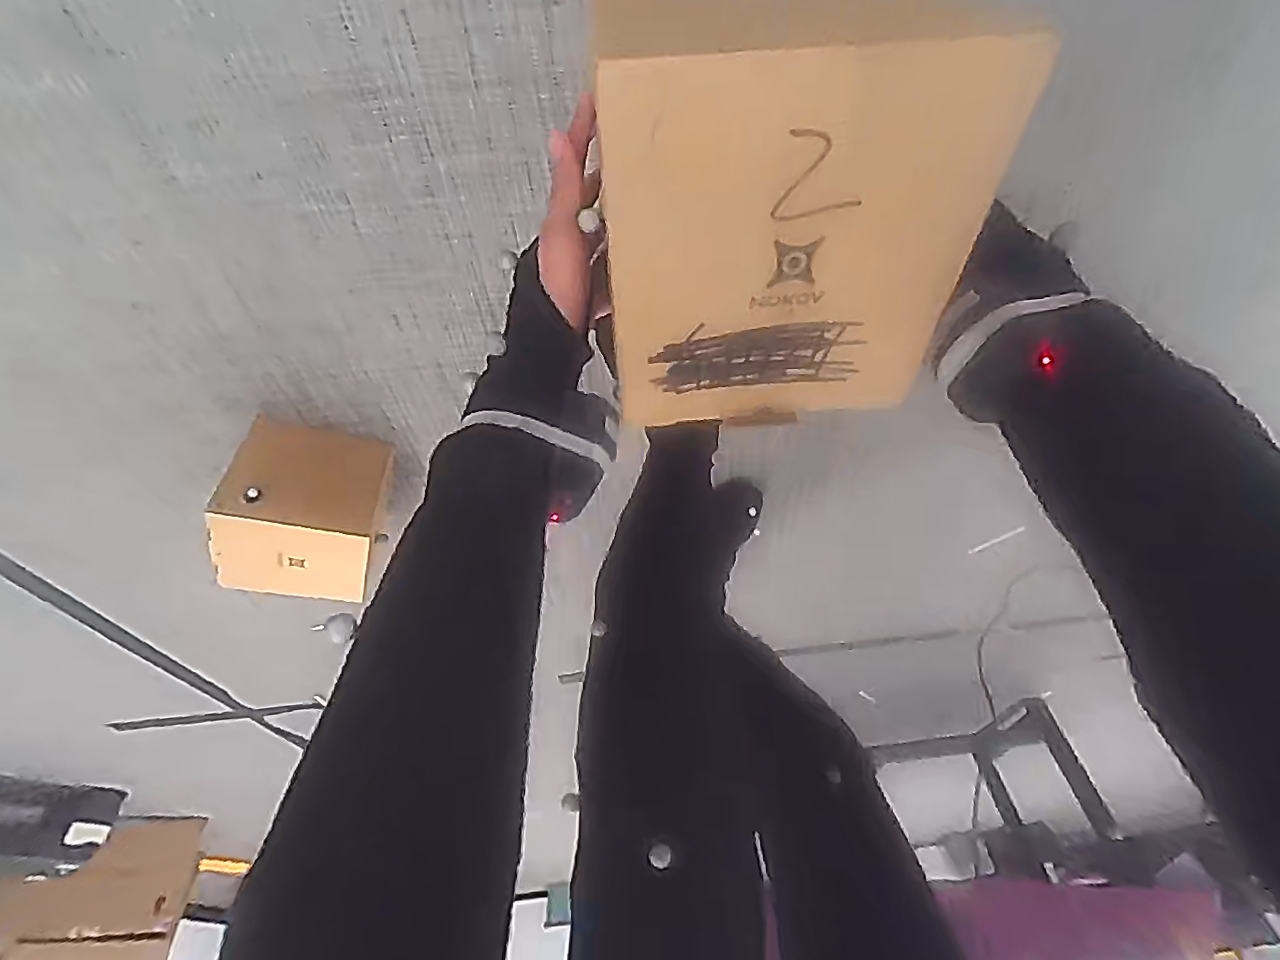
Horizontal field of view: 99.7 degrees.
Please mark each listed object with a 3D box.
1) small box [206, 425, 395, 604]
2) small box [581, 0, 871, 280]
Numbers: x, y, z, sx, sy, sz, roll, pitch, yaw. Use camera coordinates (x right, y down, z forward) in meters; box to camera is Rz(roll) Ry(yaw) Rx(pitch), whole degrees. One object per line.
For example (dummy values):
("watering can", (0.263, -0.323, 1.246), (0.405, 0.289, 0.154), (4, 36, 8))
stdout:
("small box", (-0.448, 0.048, 0.739), (0.179, 0.176, 0.168), (13, 134, -21))
("small box", (0.048, -0.282, 0.412), (0.168, 0.176, 0.179), (-7, 139, -1))
